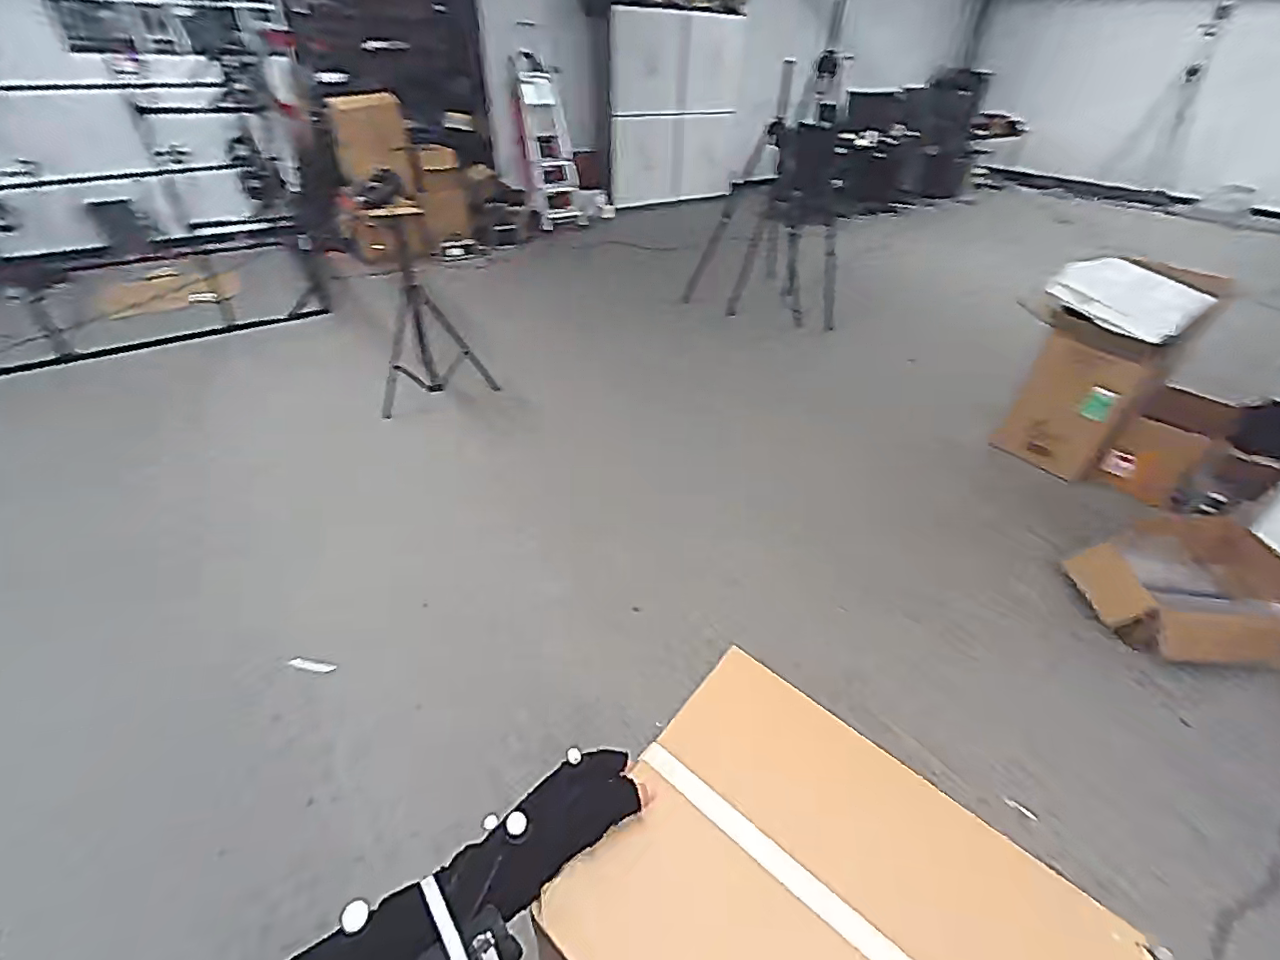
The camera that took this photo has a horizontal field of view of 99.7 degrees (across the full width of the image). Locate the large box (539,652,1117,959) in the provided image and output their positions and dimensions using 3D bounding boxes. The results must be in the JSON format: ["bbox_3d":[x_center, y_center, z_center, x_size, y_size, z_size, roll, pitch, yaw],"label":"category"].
[{"bbox_3d":[0.144,0.468,0.545,0.408,0.320,0.320,32,46,25],"label":"large box"}]
